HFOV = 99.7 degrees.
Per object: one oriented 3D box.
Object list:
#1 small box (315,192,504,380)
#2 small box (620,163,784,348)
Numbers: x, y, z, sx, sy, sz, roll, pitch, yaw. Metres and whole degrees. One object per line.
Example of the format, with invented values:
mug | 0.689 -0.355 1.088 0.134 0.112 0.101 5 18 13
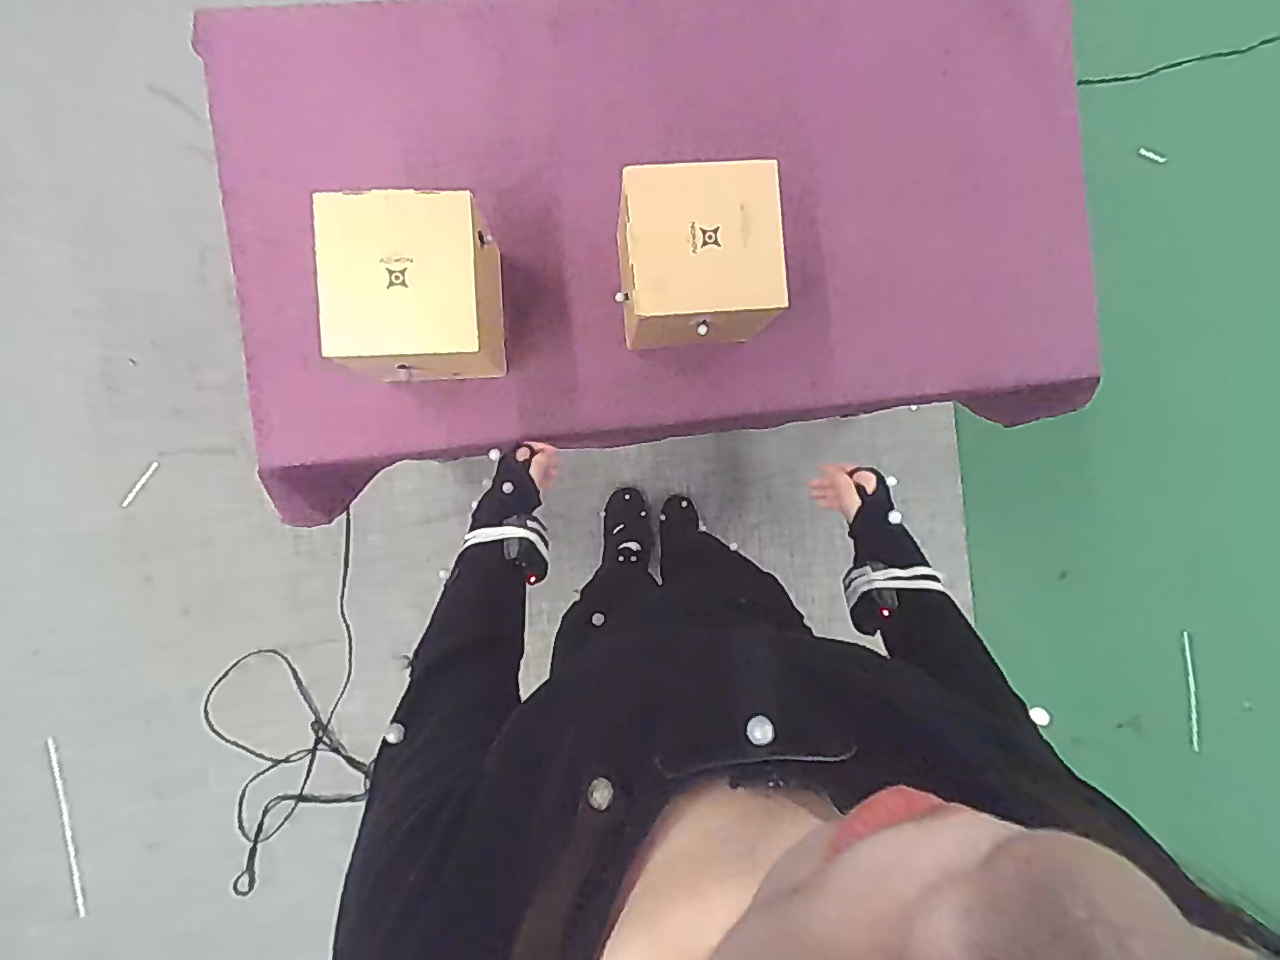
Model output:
small box | -0.264 -0.220 0.657 0.168 0.176 0.179 -3 90 -4
small box | 0.066 -0.267 0.677 0.179 0.176 0.168 -4 92 -4
